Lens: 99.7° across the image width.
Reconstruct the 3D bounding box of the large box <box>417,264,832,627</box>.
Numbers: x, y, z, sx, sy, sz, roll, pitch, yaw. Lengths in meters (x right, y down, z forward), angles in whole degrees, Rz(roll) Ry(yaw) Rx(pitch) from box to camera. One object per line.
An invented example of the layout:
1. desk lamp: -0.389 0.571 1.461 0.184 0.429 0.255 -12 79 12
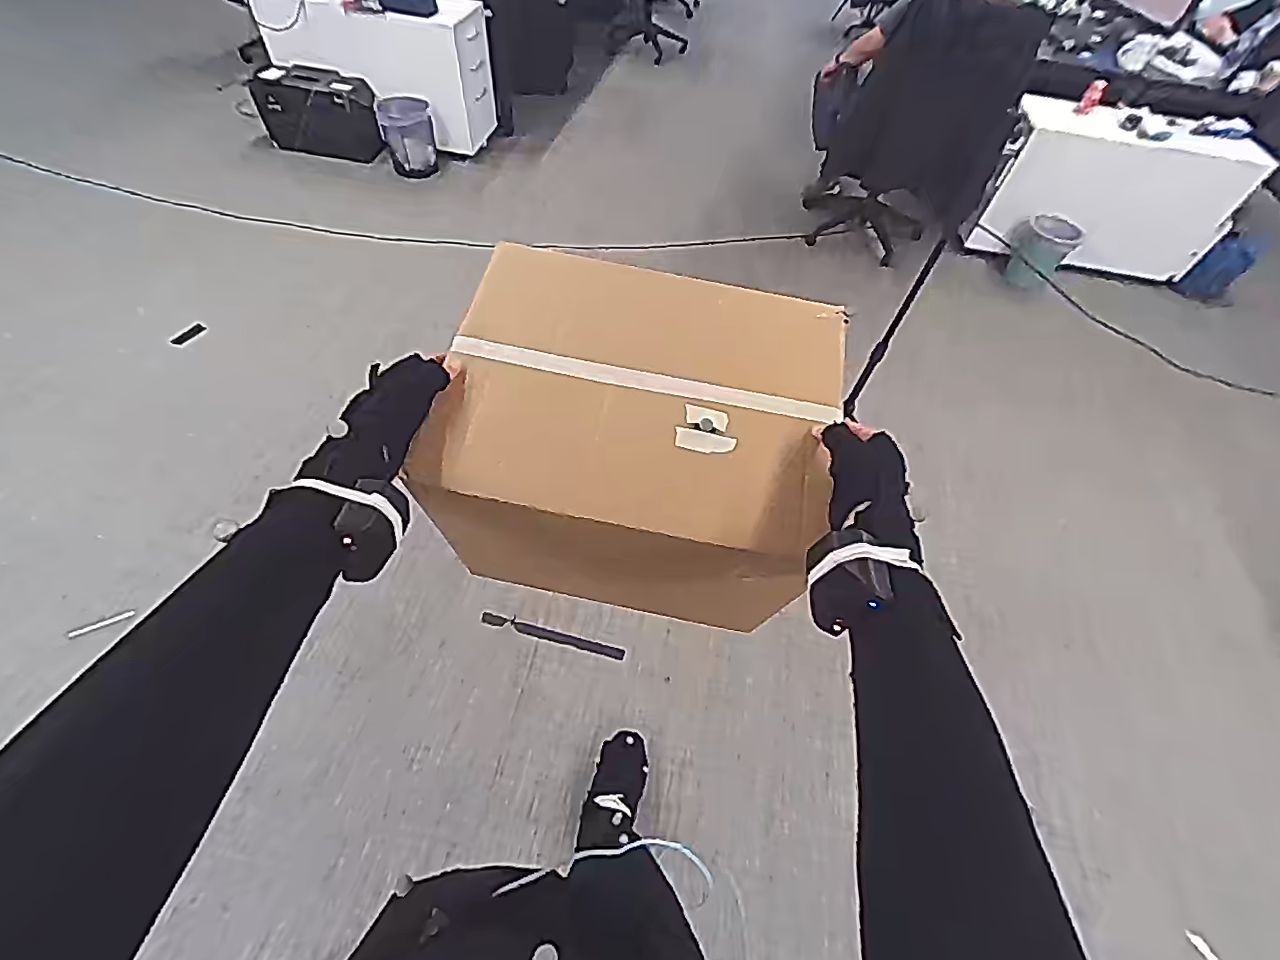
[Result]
1. large box: -0.006 -0.024 0.705 0.408 0.320 0.320 11 64 1
